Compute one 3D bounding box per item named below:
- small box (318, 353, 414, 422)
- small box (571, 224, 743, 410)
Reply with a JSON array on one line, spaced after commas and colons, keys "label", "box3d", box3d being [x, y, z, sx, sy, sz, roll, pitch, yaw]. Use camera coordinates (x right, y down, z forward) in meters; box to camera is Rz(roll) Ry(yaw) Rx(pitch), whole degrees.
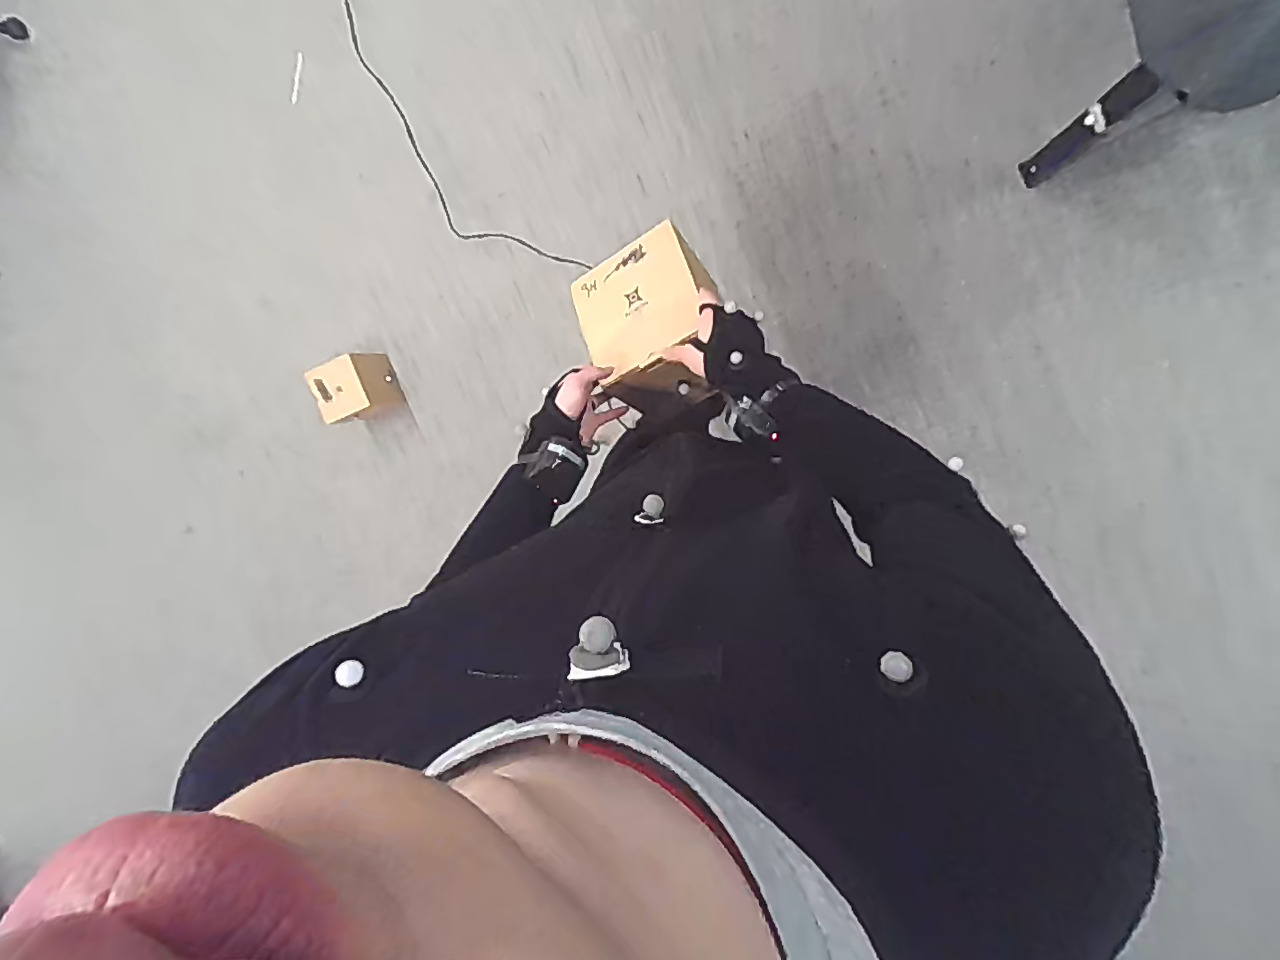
[{"label": "small box", "box3d": [-0.857, -0.291, 1.705, 0.179, 0.176, 0.168, -18, 97, 17]}, {"label": "small box", "box3d": [0.029, -0.218, 0.783, 0.168, 0.176, 0.179, -25, 69, 23]}]
